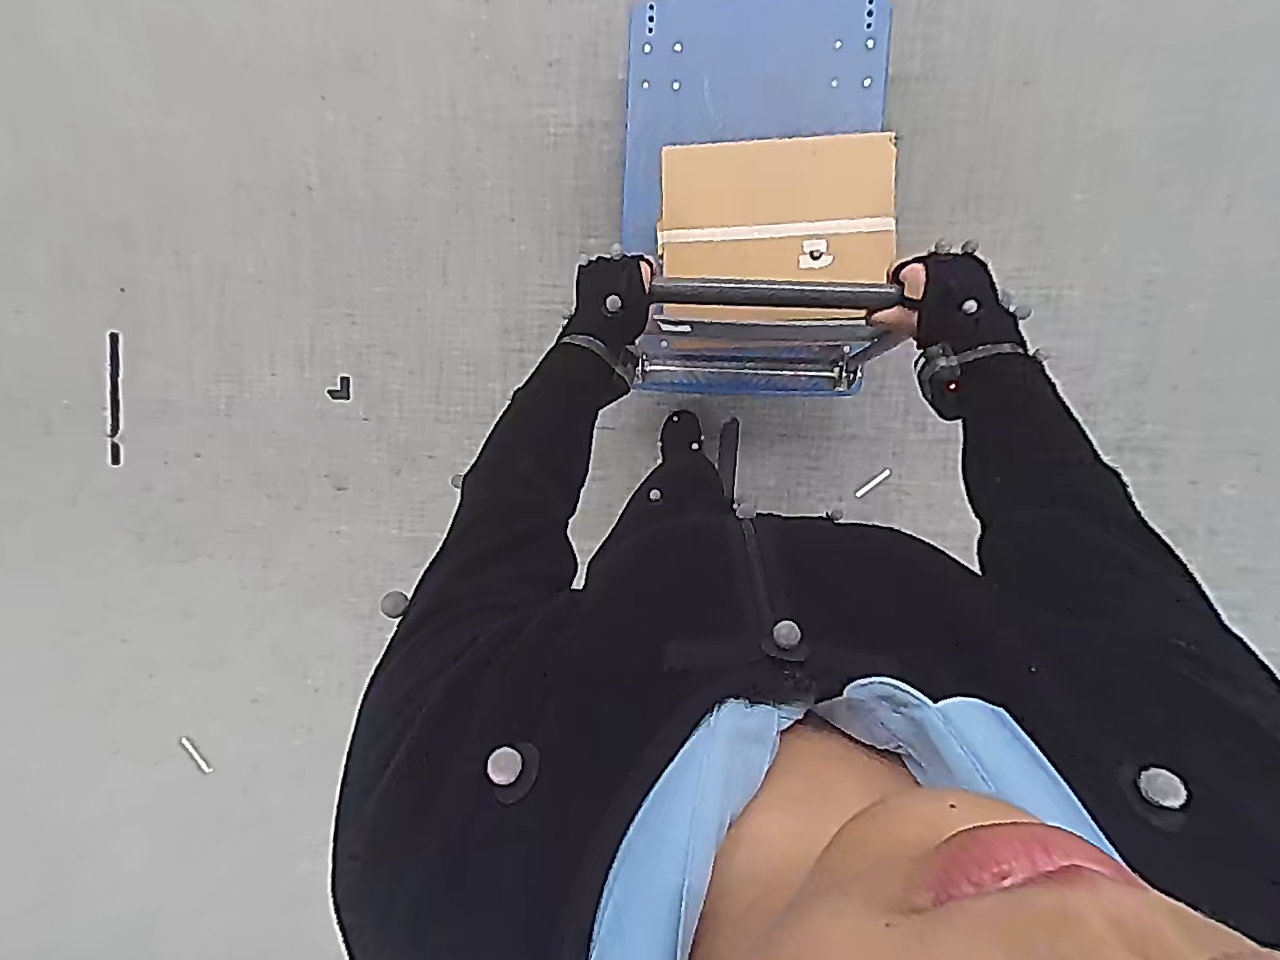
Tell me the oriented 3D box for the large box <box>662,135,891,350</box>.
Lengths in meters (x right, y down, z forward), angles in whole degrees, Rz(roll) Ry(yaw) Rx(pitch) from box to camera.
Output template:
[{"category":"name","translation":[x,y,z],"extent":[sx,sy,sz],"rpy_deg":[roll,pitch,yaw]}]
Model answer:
[{"category":"large box","translation":[0.254,-0.457,1.119],"extent":[0.408,0.320,0.320],"rpy_deg":[-1,96,4]}]
